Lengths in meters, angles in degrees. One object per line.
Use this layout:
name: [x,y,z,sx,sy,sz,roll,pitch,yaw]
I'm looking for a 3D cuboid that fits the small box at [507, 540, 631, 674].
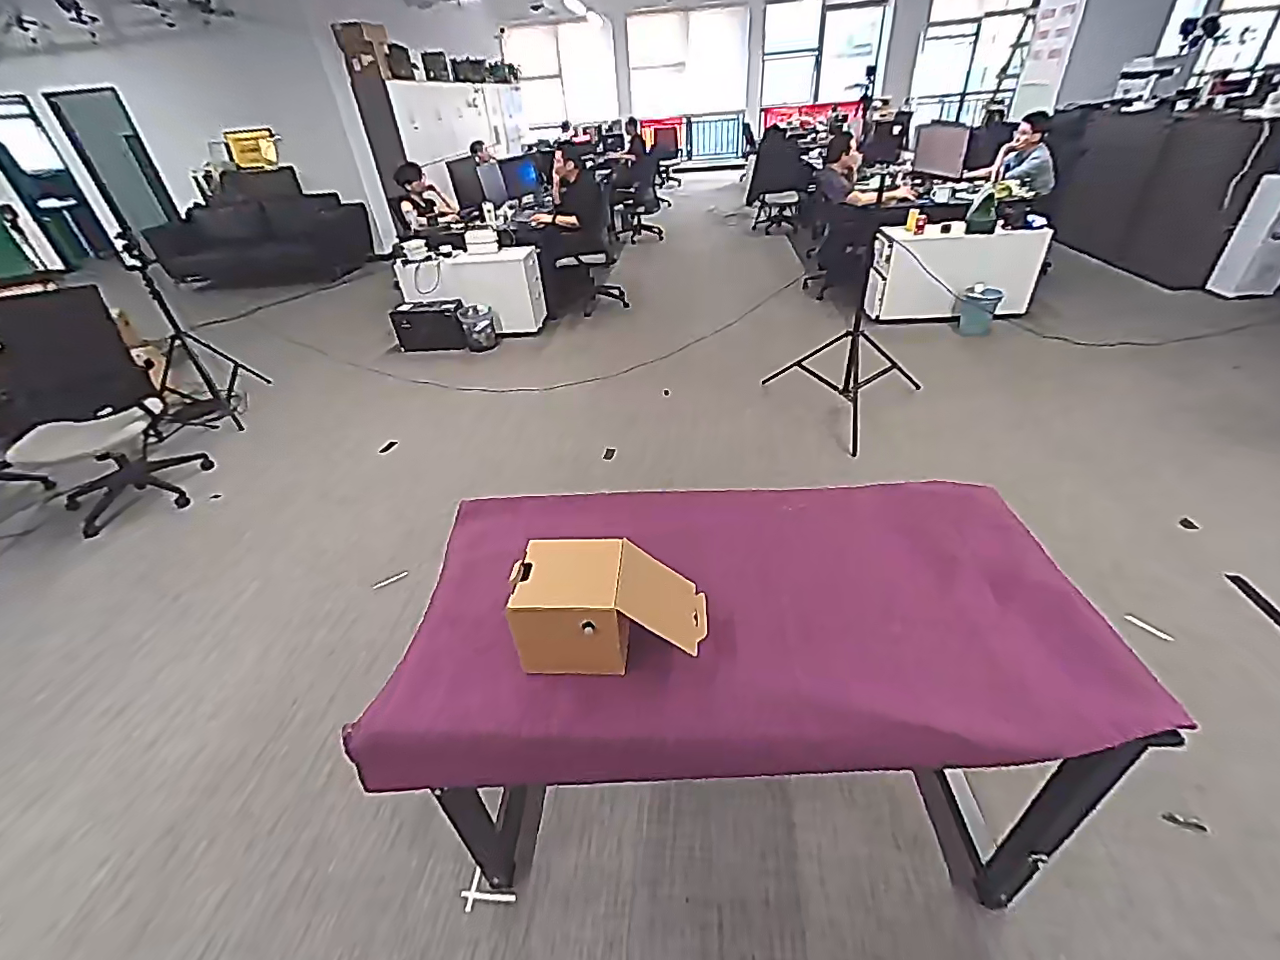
small box: [-0.112,0.223,0.951,0.179,0.176,0.168,-2,34,6]
